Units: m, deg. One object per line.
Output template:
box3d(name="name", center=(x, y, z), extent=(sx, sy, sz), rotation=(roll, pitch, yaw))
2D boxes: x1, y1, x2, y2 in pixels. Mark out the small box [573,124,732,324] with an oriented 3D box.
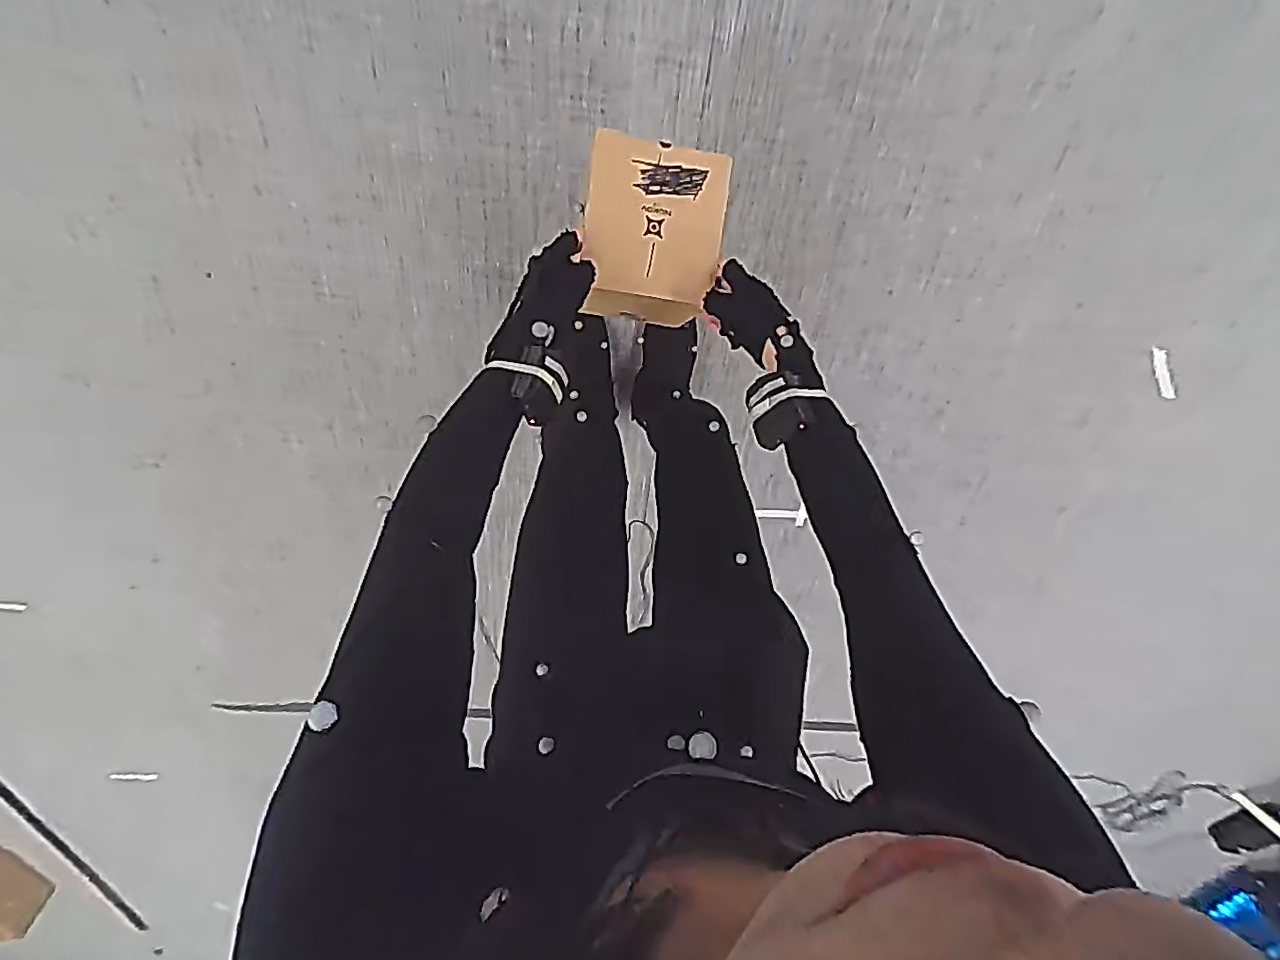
box3d(name="small box", center=(0.005, -0.316, 0.707), extent=(0.168, 0.176, 0.179), rotation=(6, 97, -11))
